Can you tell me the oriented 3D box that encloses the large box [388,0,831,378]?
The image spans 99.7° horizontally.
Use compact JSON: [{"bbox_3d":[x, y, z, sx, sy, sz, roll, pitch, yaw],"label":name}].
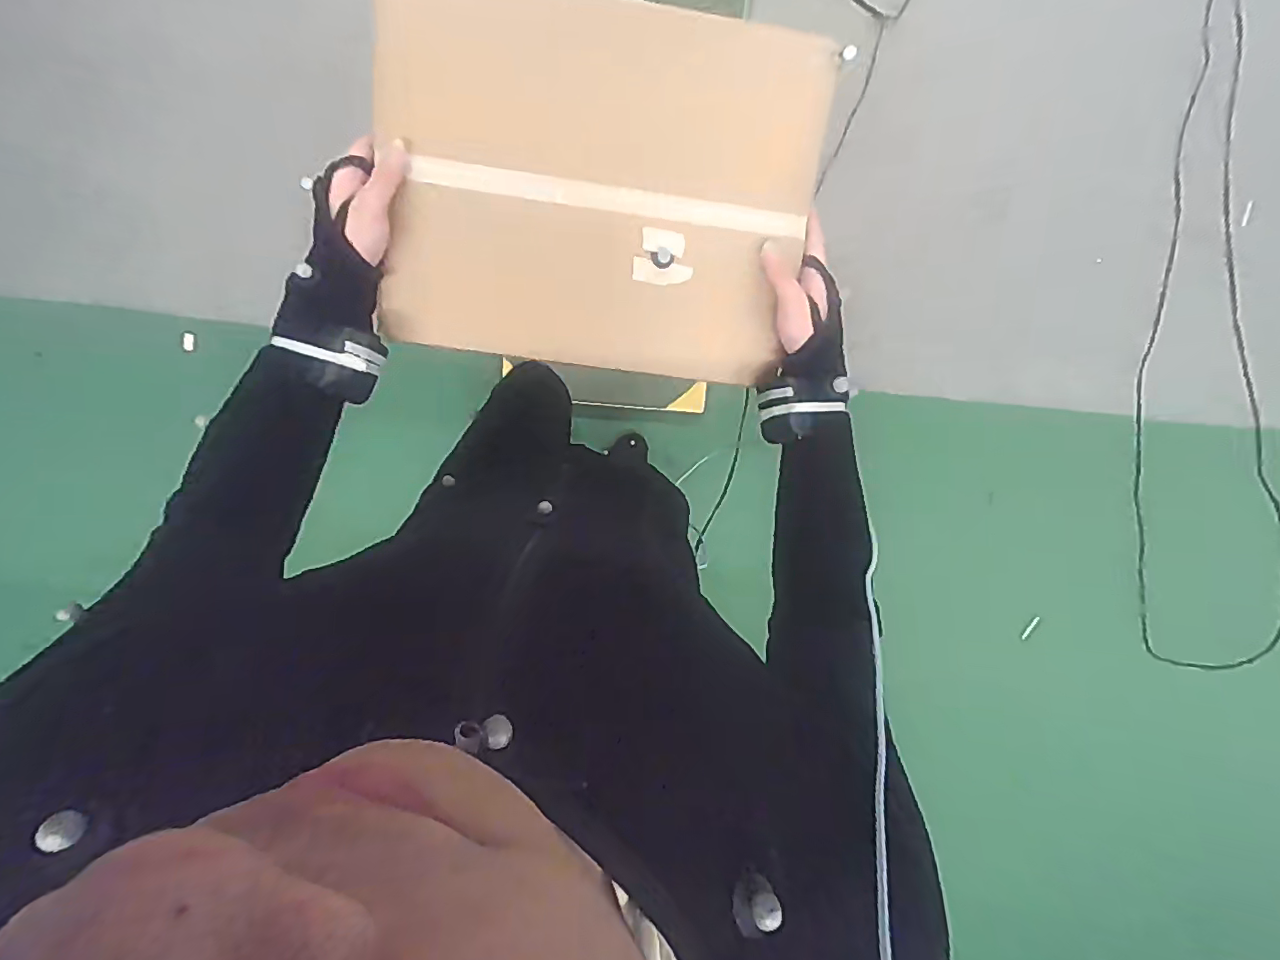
[{"bbox_3d":[-0.048,-0.313,0.661,0.408,0.320,0.320,6,107,-6],"label":"large box"}]
